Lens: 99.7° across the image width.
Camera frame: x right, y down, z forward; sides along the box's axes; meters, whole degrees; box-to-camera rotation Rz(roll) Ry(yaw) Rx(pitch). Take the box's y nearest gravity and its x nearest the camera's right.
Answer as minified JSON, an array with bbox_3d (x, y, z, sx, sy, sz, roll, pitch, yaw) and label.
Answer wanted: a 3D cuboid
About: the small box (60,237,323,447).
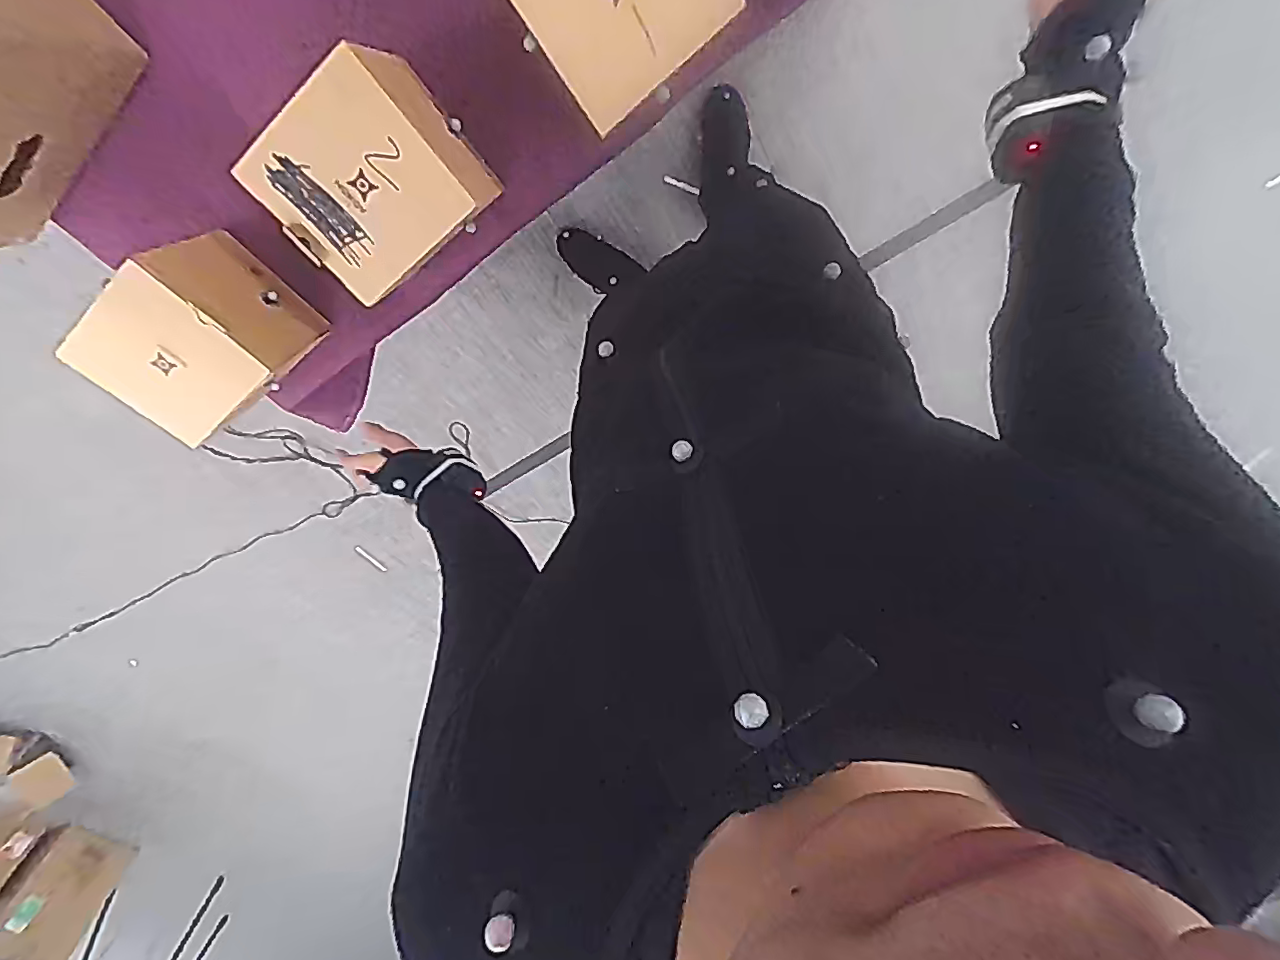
[{"bbox_3d":[-0.556,-0.181,0.699,0.179,0.176,0.168,-34,119,17],"label":"small box"}]
